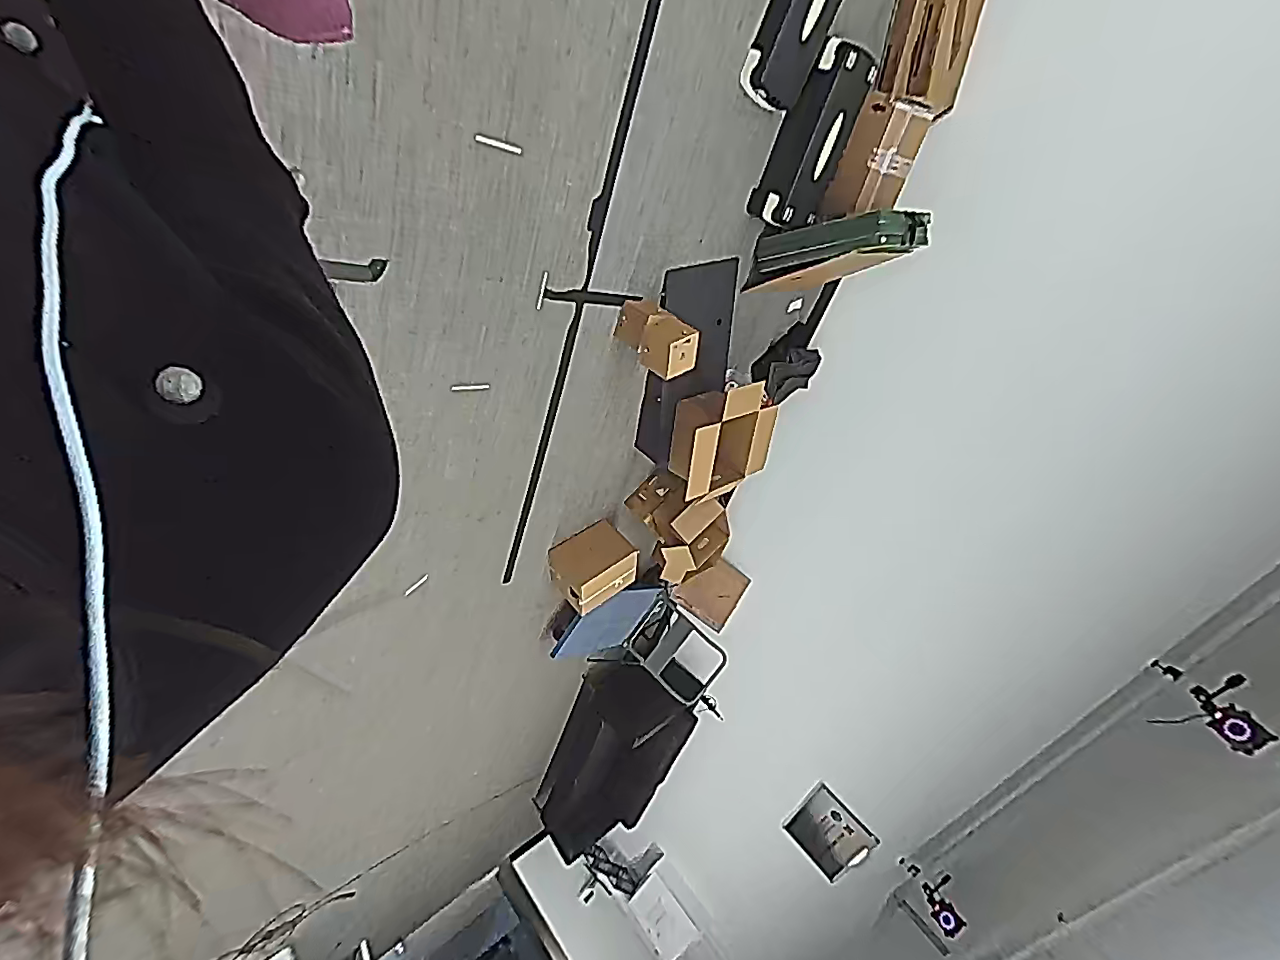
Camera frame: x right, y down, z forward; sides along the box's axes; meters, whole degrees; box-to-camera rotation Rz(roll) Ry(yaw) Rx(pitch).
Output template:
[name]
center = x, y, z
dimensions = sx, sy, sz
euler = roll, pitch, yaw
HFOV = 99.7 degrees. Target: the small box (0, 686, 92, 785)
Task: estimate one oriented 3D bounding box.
[small box]
center = -1.789, 0.762, 1.628
dimensions = 0.179, 0.176, 0.168
euler = -8, 131, -51
